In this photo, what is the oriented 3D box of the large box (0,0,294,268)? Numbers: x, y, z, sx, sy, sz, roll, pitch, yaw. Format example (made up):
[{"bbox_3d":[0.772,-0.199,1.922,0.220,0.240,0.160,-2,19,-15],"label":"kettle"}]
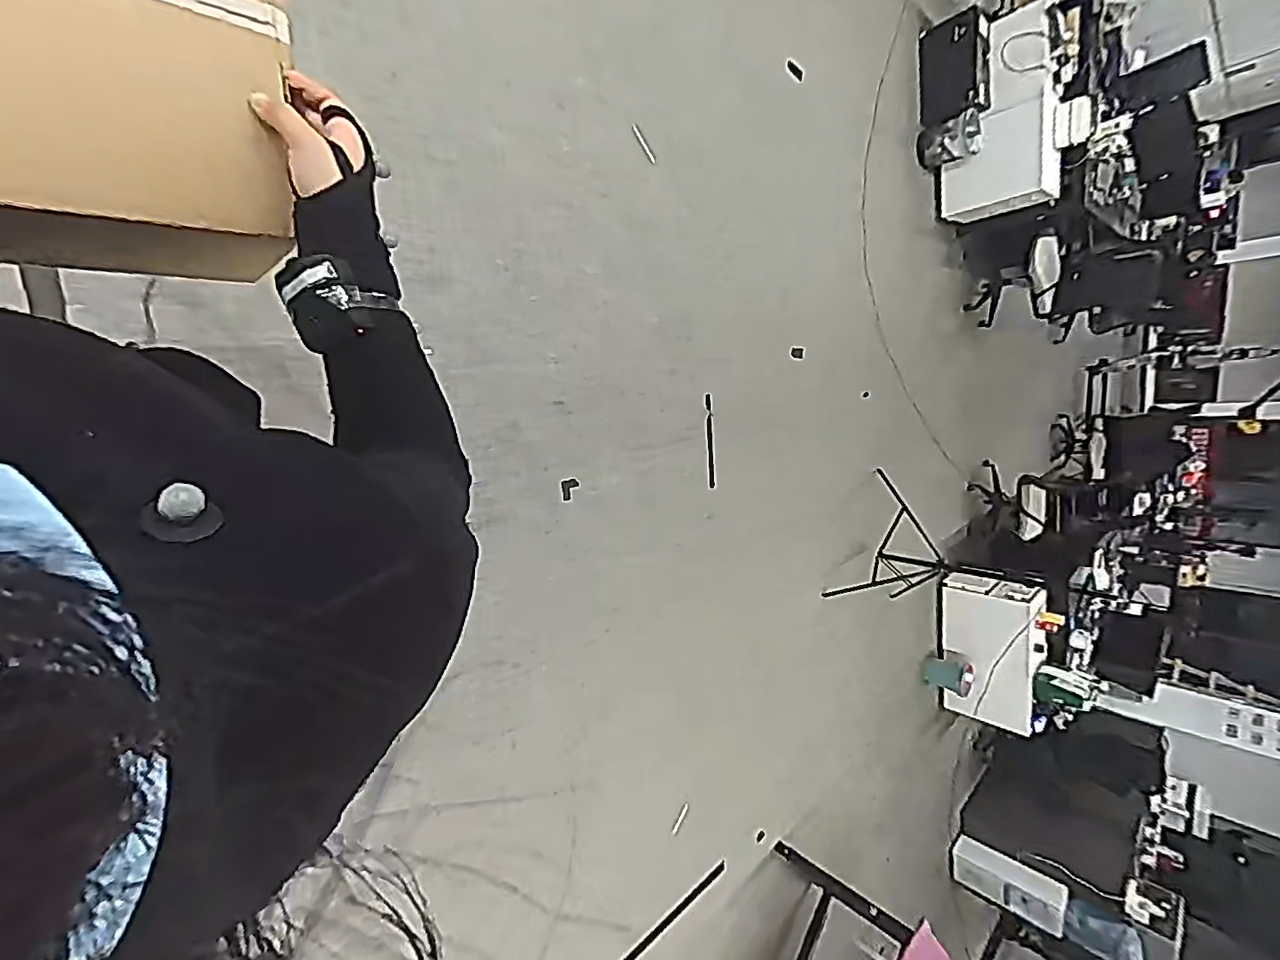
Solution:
[{"bbox_3d":[-0.540,-0.355,0.413,0.408,0.320,0.320,-11,105,-39],"label":"large box"}]
